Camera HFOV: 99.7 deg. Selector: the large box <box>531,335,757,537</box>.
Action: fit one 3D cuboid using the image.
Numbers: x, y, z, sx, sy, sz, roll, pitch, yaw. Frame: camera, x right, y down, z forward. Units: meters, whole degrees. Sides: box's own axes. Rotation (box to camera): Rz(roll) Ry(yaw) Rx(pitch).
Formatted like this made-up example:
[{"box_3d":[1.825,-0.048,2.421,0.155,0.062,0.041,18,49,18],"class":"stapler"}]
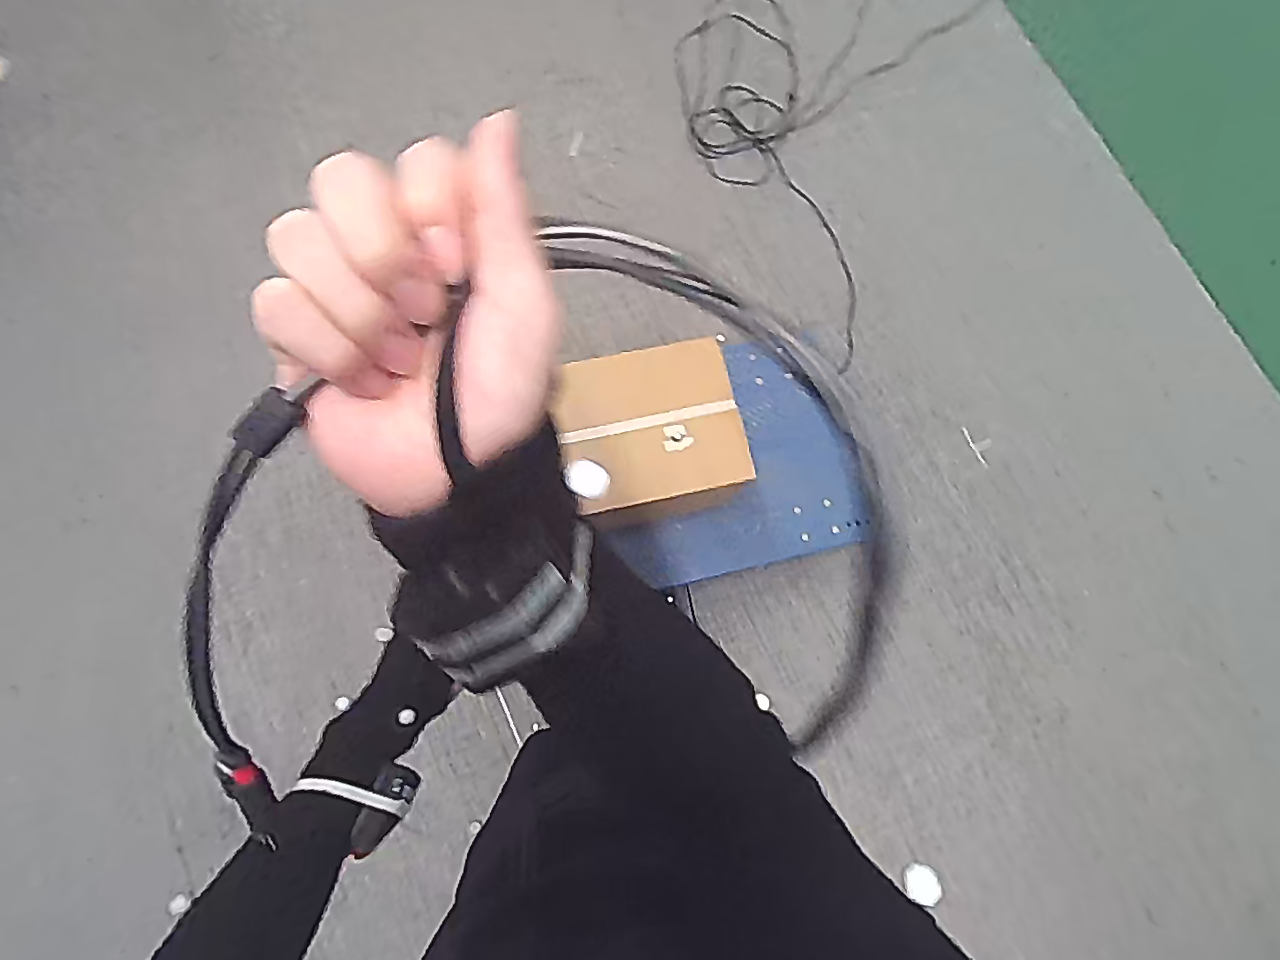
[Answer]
[{"box_3d":[-0.003,-0.080,1.219,0.408,0.320,0.320,-12,79,-6],"class":"large box"}]
